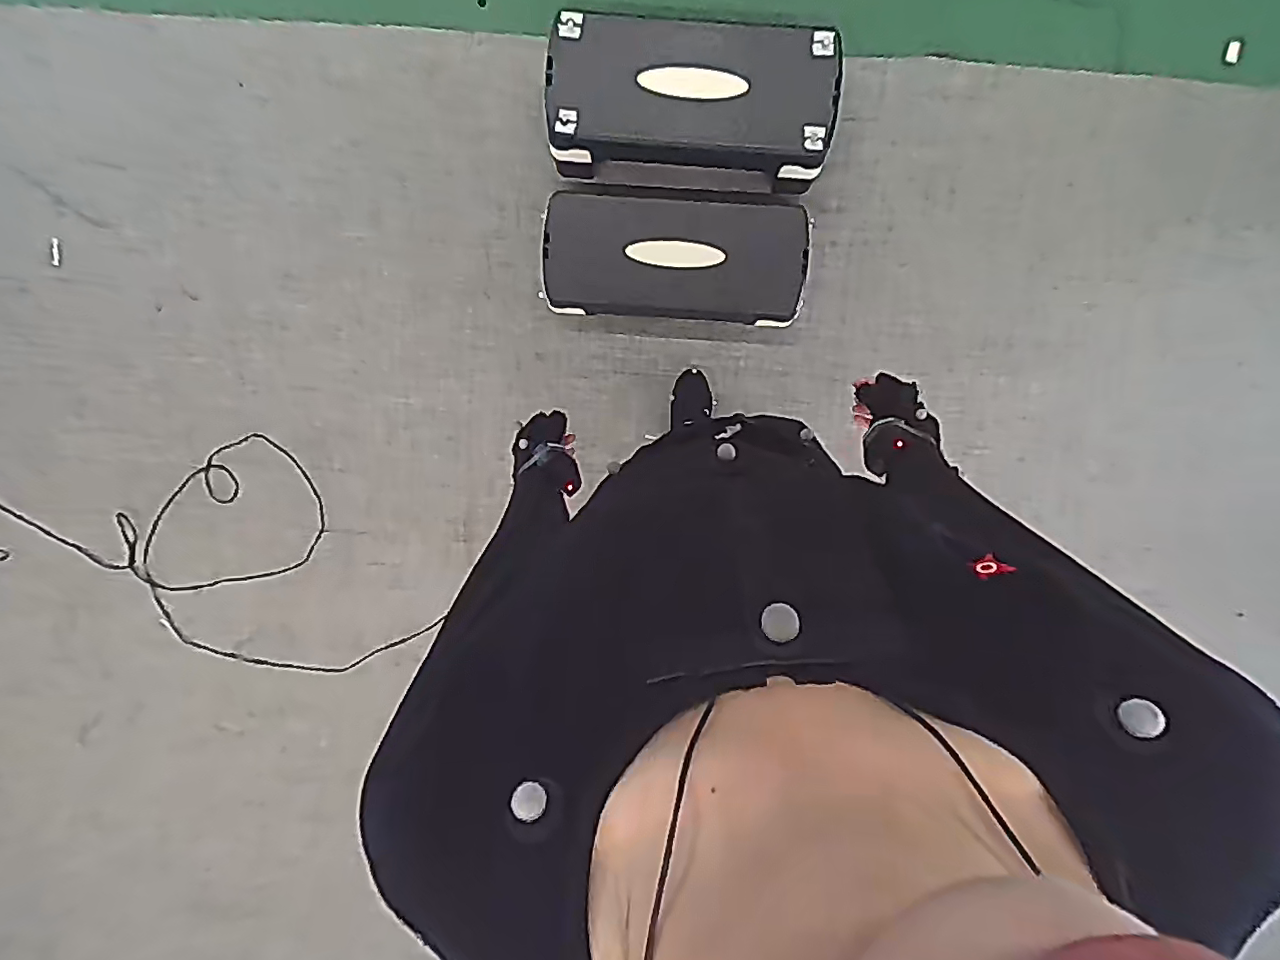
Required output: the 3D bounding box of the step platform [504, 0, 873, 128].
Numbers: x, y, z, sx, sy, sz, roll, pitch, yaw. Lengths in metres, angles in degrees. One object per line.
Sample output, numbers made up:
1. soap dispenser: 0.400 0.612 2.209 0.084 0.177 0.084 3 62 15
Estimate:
1. step platform: 0.092 -0.903 1.075 0.684 0.204 0.286 4 98 1
